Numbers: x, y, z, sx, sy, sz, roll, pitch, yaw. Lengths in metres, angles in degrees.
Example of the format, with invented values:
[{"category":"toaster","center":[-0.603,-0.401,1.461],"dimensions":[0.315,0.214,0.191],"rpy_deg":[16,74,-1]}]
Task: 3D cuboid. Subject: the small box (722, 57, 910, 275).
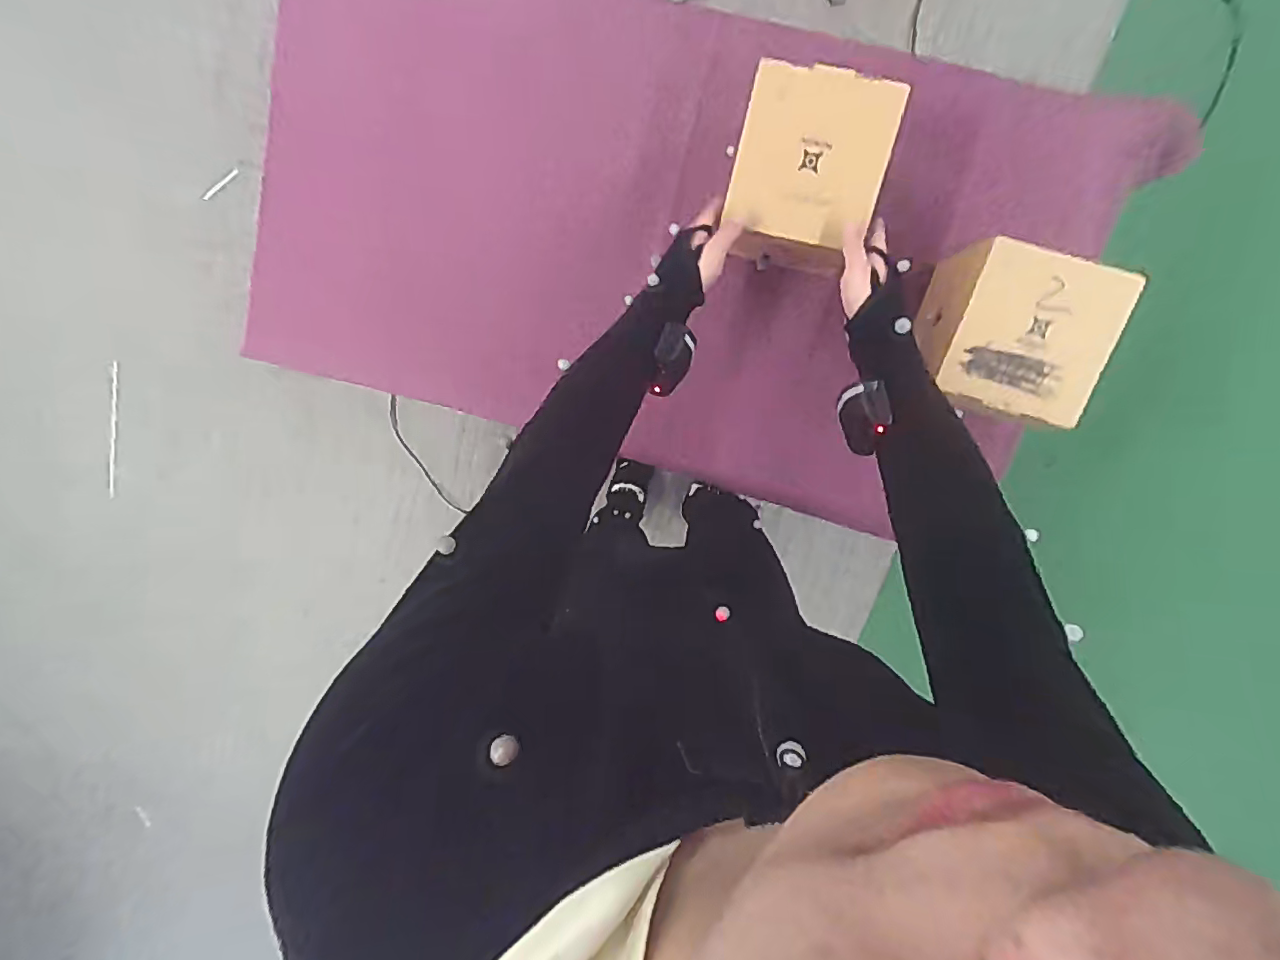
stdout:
[{"category":"small box","center":[0.202,-0.376,0.680],"dimensions":[0.168,0.176,0.179],"rpy_deg":[15,104,5]}]
